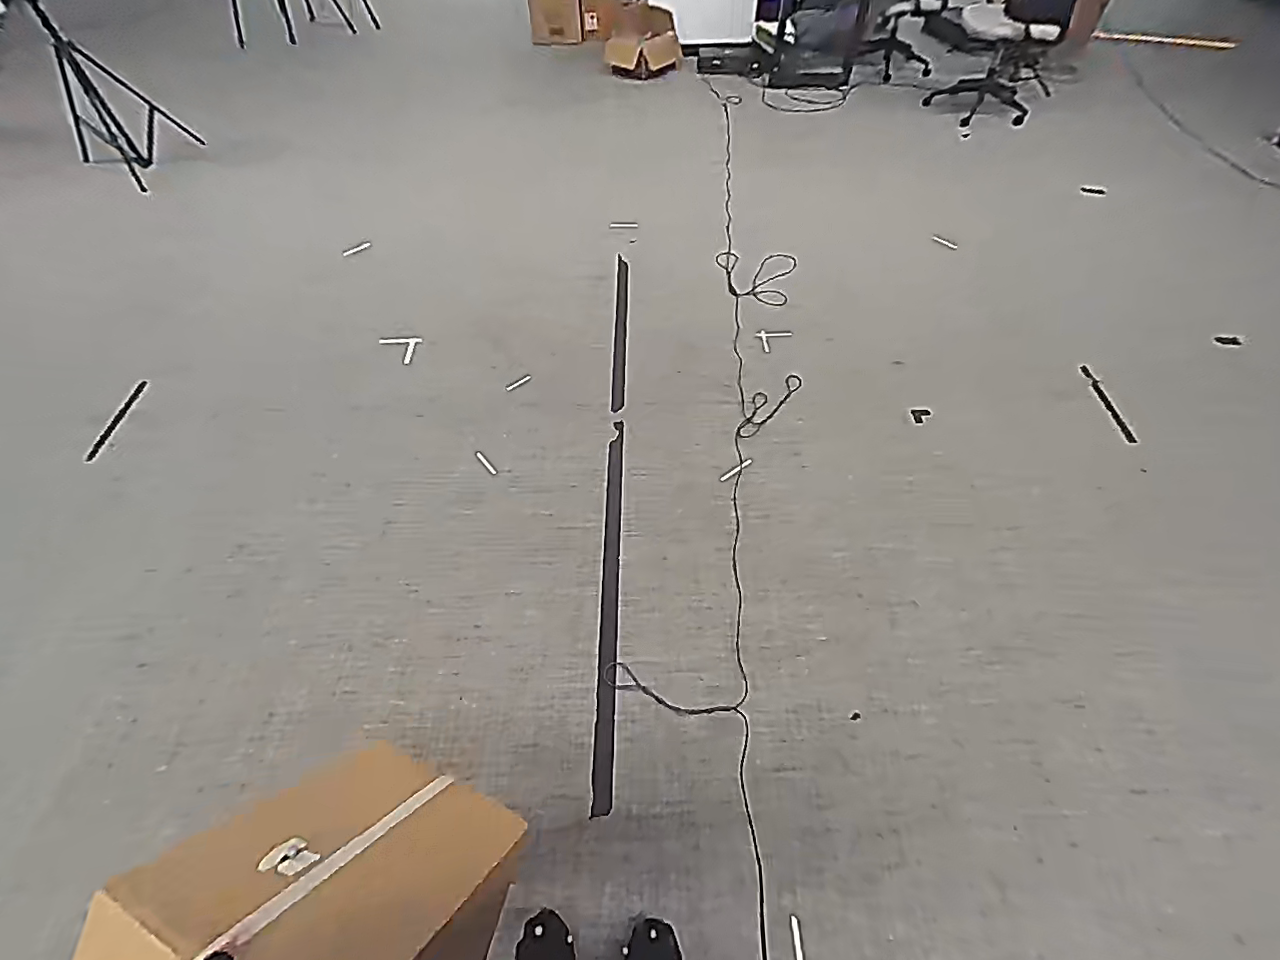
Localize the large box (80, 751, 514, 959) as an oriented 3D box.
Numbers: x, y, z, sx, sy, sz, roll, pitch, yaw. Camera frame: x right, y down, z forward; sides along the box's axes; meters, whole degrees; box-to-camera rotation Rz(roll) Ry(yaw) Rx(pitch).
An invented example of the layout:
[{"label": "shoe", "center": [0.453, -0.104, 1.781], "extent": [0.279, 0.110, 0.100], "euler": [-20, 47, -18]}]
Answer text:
[{"label": "large box", "center": [-0.434, 0.649, 0.721], "extent": [0.320, 0.408, 0.320], "euler": [17, 90, 16]}]
